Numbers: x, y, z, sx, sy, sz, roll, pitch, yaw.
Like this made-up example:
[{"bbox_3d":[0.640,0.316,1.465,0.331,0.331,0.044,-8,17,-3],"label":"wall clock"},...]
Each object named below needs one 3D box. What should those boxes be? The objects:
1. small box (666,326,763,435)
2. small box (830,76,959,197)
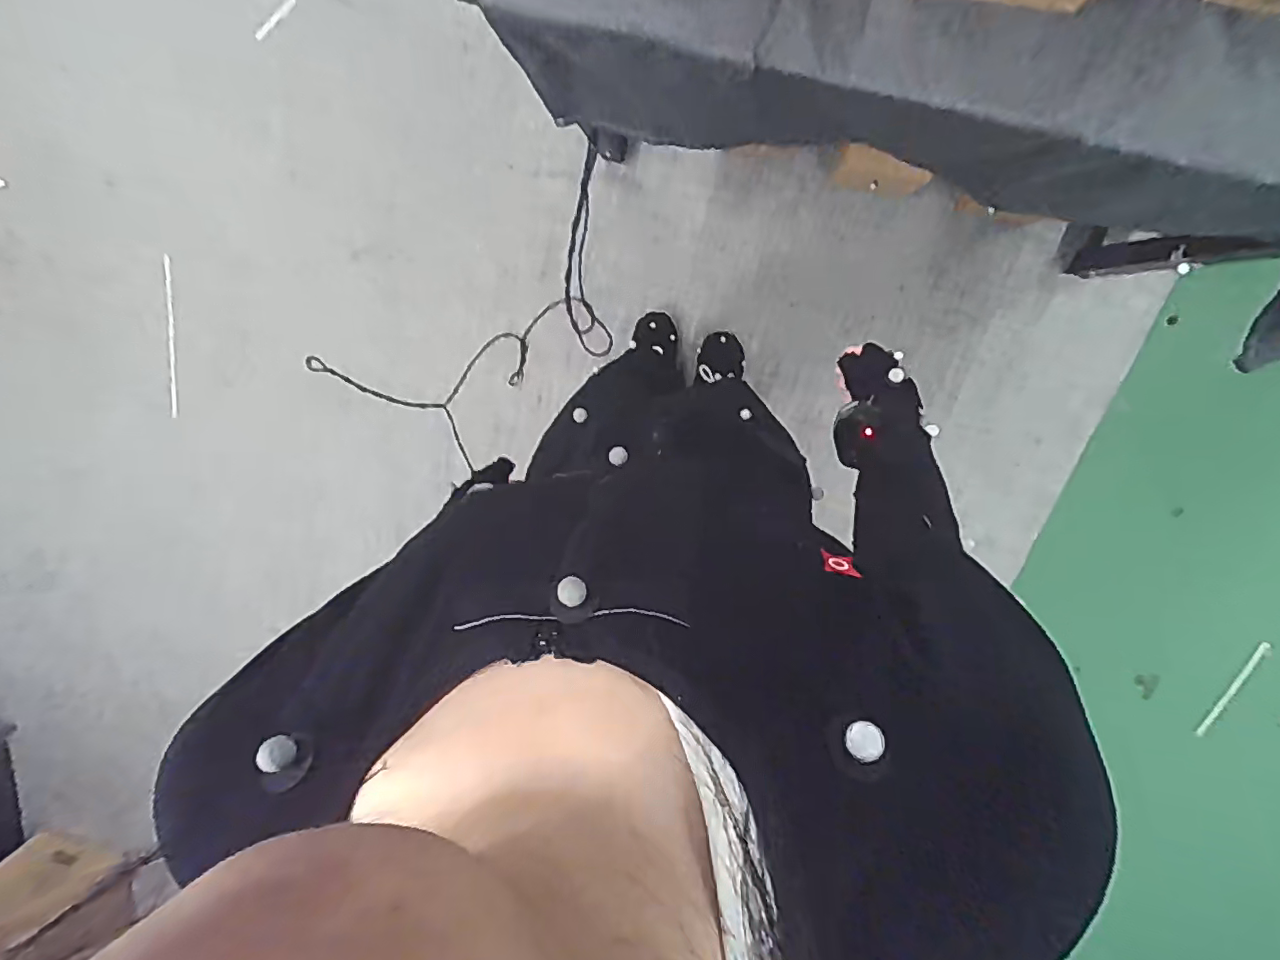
[{"bbox_3d":[0.180,-0.244,1.354,0.179,0.176,0.168,-33,73,-6],"label":"small box"},{"bbox_3d":[0.528,-0.718,1.151,0.179,0.176,0.168,14,108,4],"label":"small box"}]
